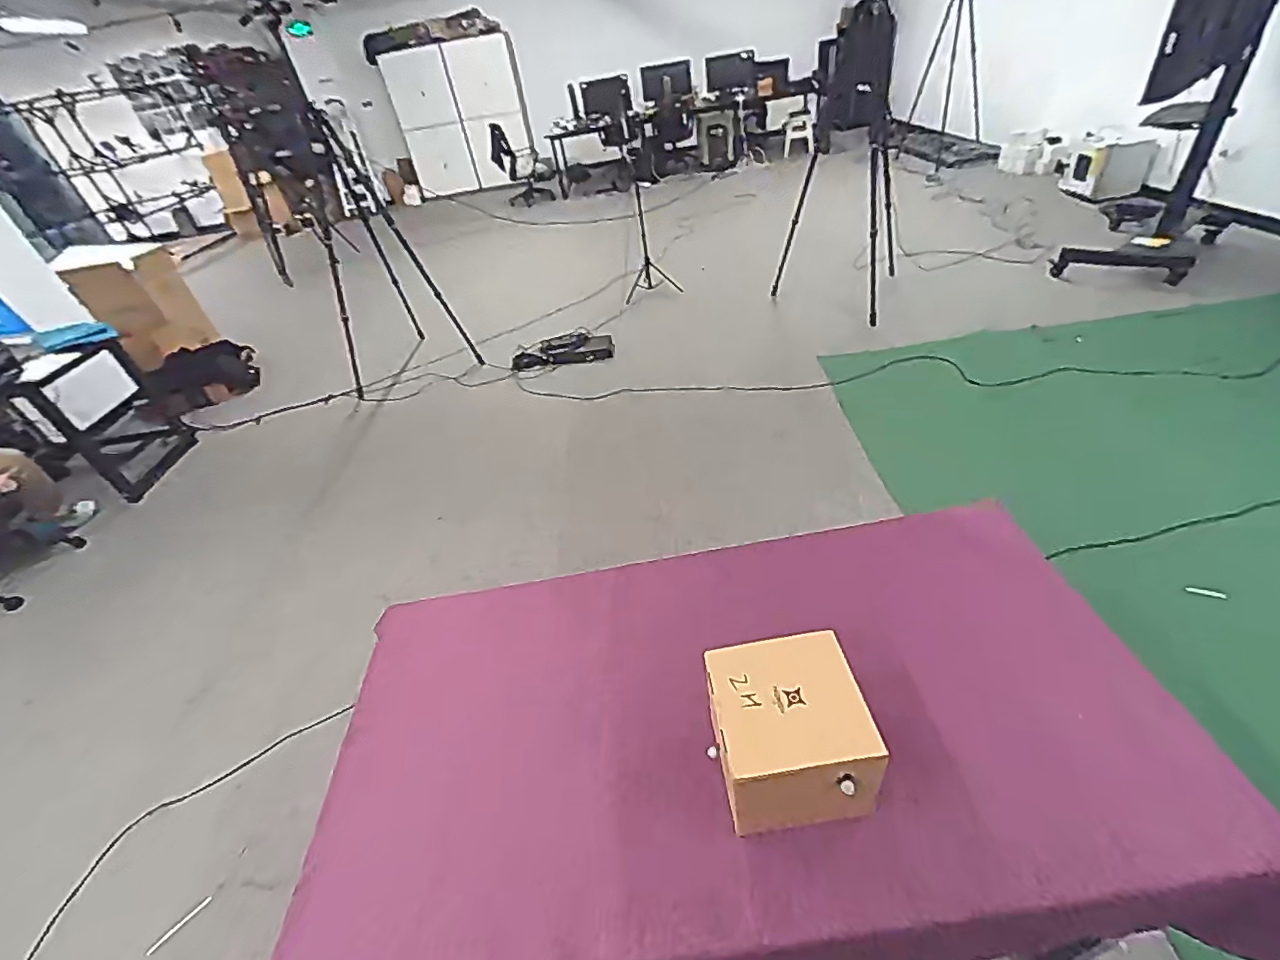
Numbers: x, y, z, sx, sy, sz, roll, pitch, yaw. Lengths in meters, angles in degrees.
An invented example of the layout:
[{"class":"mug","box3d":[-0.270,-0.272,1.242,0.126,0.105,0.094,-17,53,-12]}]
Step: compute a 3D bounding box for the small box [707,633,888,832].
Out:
[{"class":"small box","box3d":[0.191,0.327,0.702,0.179,0.176,0.168,-11,38,1]}]
